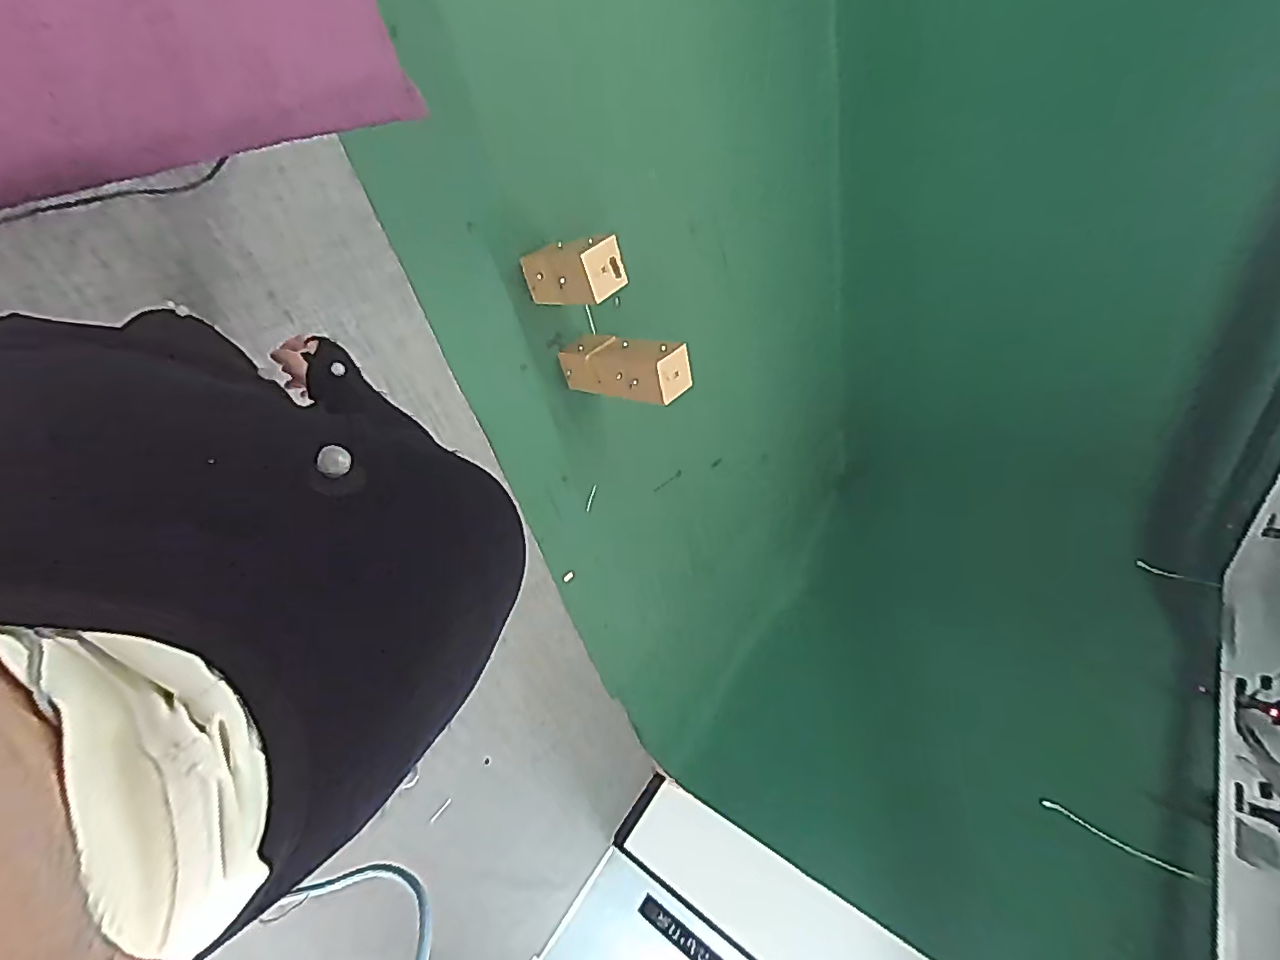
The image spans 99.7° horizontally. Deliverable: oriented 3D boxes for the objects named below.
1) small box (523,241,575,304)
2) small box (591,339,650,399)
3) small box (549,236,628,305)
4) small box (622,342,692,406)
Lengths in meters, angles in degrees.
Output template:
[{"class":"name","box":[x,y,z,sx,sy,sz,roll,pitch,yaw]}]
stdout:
[{"class":"small box","box":[-0.293,-0.740,1.932,0.179,0.176,0.168,-44,133,-34]},{"class":"small box","box":[-0.059,-0.428,2.062,0.179,0.176,0.168,-41,132,-35]},{"class":"small box","box":[-0.175,-0.707,1.822,0.179,0.176,0.168,-45,133,-31]},{"class":"small box","box":[0.062,-0.391,1.957,0.179,0.176,0.168,-40,131,-35]}]
